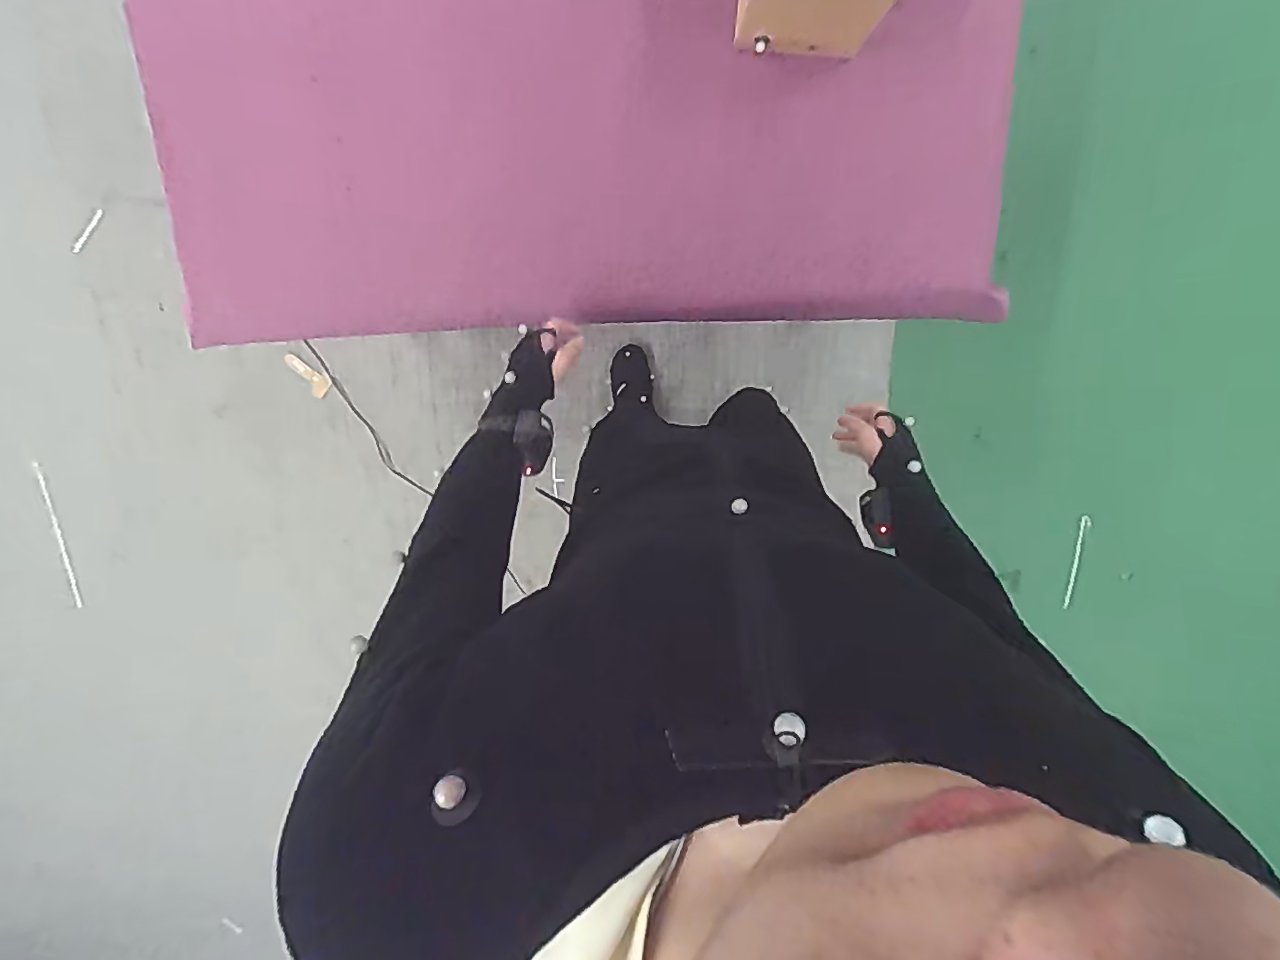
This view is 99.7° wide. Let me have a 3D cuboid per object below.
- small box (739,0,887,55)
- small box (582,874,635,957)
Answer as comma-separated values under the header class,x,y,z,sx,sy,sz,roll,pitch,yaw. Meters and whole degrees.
class,x,y,z,sx,sy,sz,roll,pitch,yaw
small box,0.219,-0.650,0.645,0.168,0.176,0.179,4,103,-2
small box,-0.106,1.523,1.900,0.179,0.176,0.168,-1,104,-1
